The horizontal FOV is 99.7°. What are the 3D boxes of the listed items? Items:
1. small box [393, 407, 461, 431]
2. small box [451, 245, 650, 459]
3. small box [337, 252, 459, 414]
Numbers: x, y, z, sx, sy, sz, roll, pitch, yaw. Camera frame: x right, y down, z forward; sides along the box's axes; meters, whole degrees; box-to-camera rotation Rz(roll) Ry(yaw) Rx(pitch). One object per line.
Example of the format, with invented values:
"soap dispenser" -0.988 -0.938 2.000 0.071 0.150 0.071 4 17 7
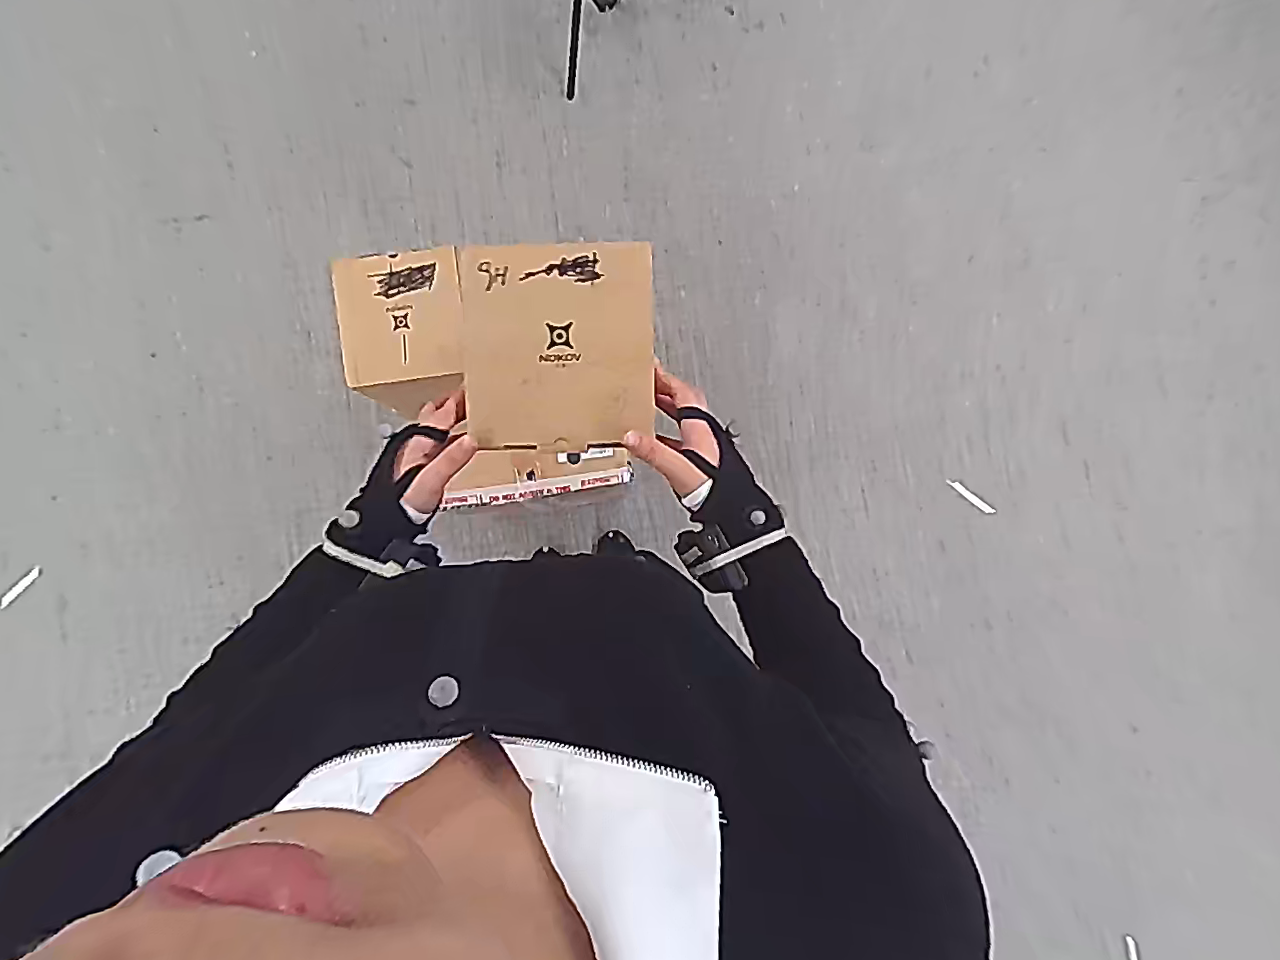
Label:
"small box" -0.335 -0.196 0.959 0.168 0.176 0.179 -12 87 -2
"small box" -0.073 -0.116 0.535 0.168 0.176 0.179 -2 96 0
"small box" -0.314 -0.205 0.795 0.168 0.176 0.179 -8 87 -2
